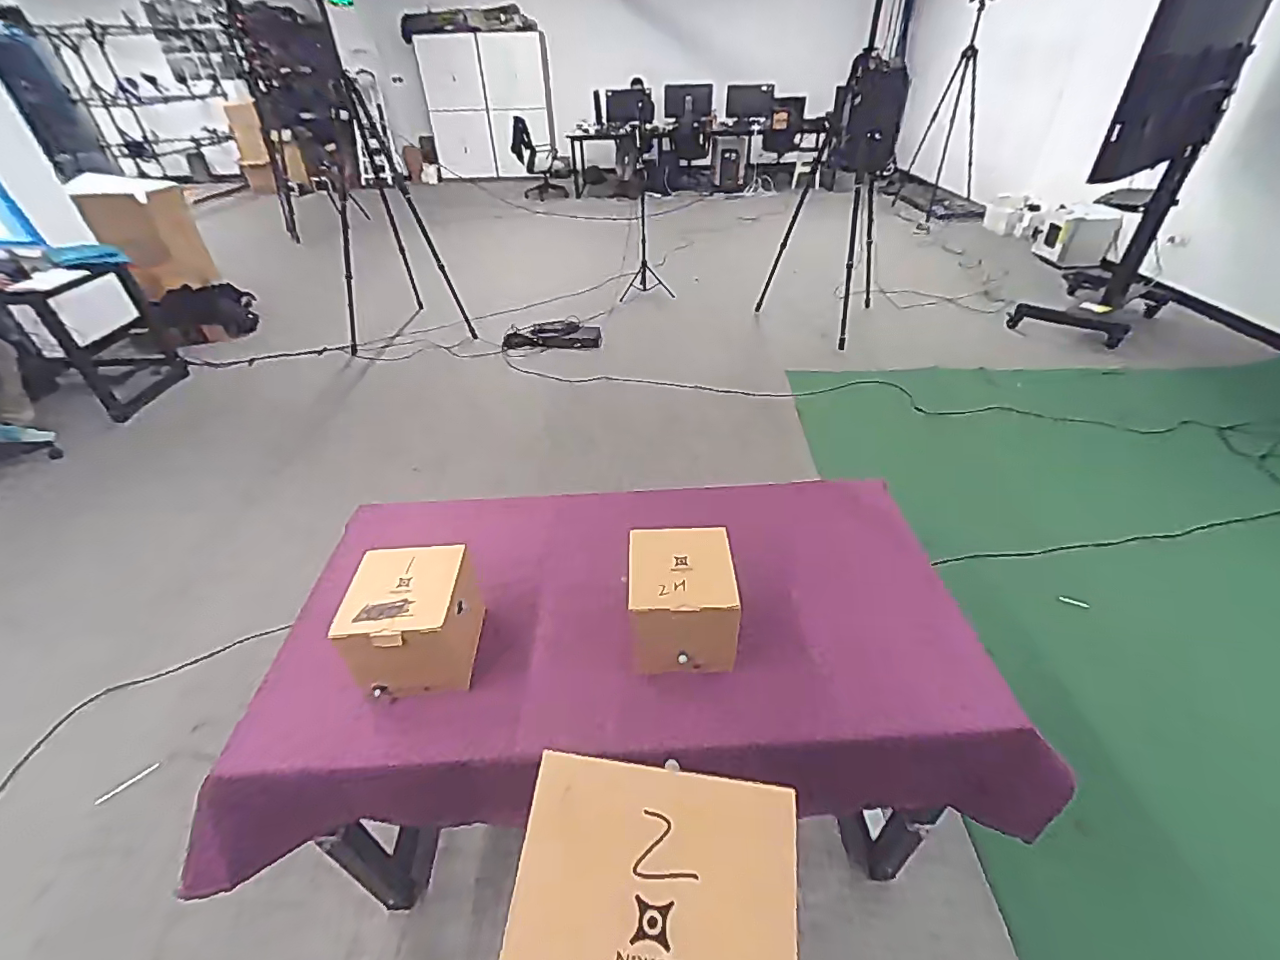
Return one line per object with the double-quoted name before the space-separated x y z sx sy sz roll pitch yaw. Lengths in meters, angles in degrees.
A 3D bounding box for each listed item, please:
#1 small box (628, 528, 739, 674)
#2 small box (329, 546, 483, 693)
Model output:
"small box" 0.067 0.199 0.903 0.168 0.176 0.179 -2 38 2
"small box" -0.365 0.232 0.886 0.168 0.176 0.179 -3 37 -2
